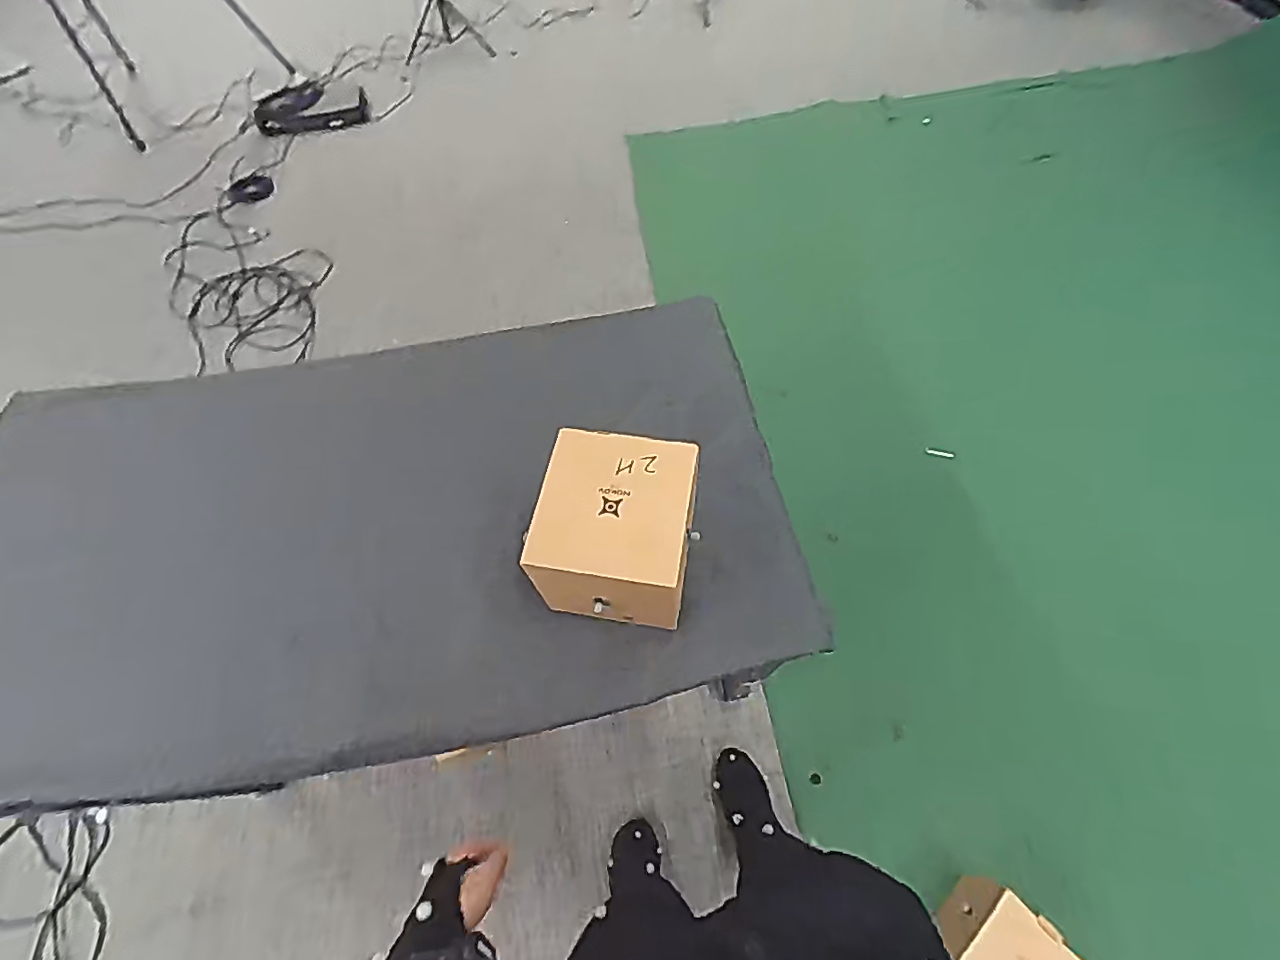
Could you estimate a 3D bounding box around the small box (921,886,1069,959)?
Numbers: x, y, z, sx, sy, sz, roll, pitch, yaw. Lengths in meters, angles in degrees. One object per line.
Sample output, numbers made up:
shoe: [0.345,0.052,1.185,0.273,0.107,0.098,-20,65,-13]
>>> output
small box: [0.662,0.903,1.001,0.179,0.176,0.168,-39,67,-16]

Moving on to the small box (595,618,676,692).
small box: [-0.004,0.410,1.292,0.179,0.176,0.168,2,63,3]

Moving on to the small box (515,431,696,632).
small box: [-0.028,0.068,0.645,0.168,0.176,0.179,8,61,8]

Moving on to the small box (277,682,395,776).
small box: [-0.690,0.576,1.250,0.168,0.176,0.179,-6,62,0]
